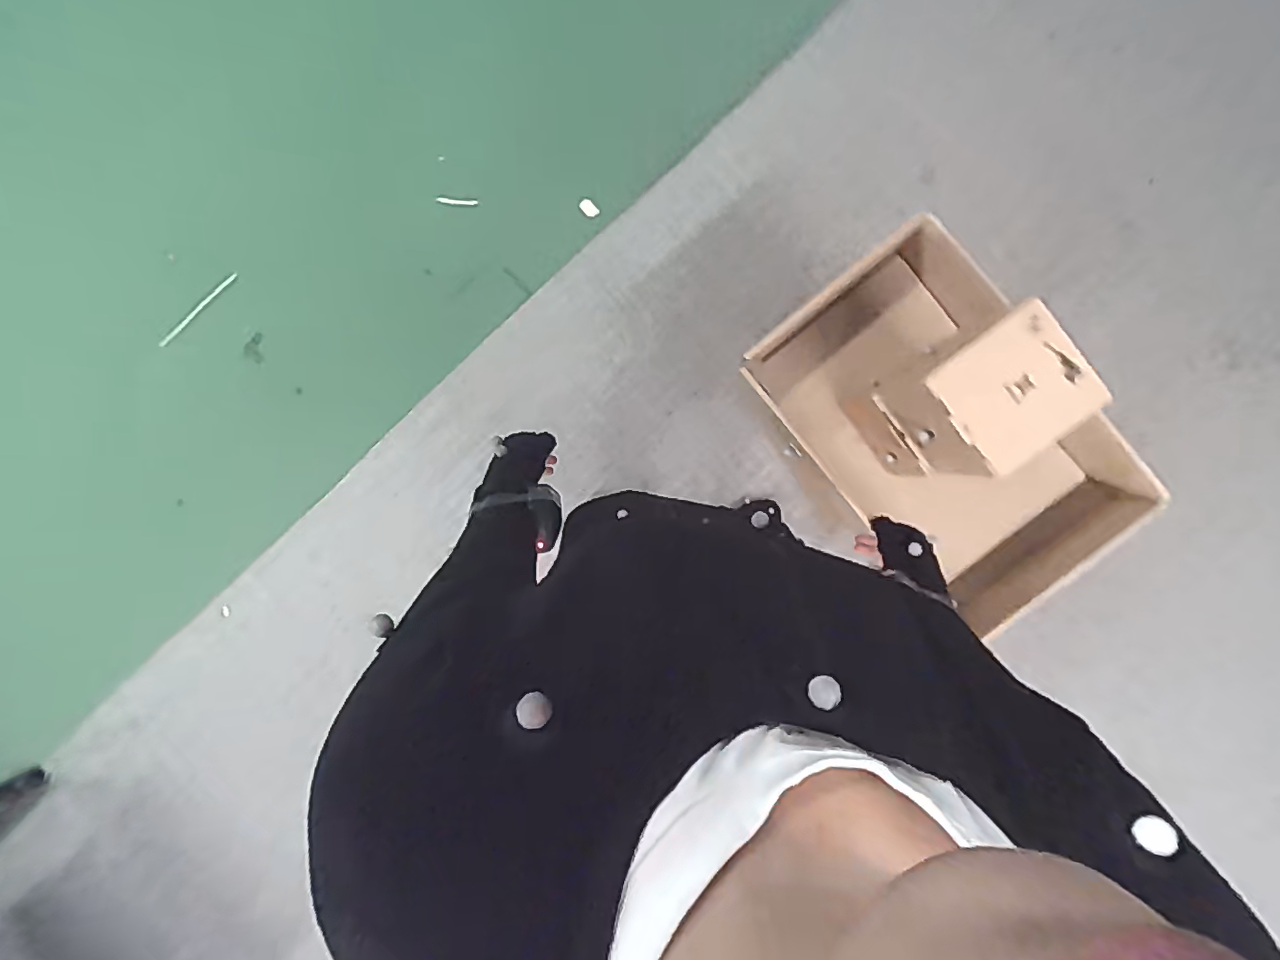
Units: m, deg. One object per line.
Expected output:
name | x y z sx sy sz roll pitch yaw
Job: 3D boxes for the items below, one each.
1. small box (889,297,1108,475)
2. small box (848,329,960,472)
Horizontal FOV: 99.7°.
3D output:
small box | 0.489 -0.125 0.776 0.179 0.176 0.168 -37 91 5
small box | 0.488 -0.128 0.940 0.179 0.176 0.168 -36 91 2
